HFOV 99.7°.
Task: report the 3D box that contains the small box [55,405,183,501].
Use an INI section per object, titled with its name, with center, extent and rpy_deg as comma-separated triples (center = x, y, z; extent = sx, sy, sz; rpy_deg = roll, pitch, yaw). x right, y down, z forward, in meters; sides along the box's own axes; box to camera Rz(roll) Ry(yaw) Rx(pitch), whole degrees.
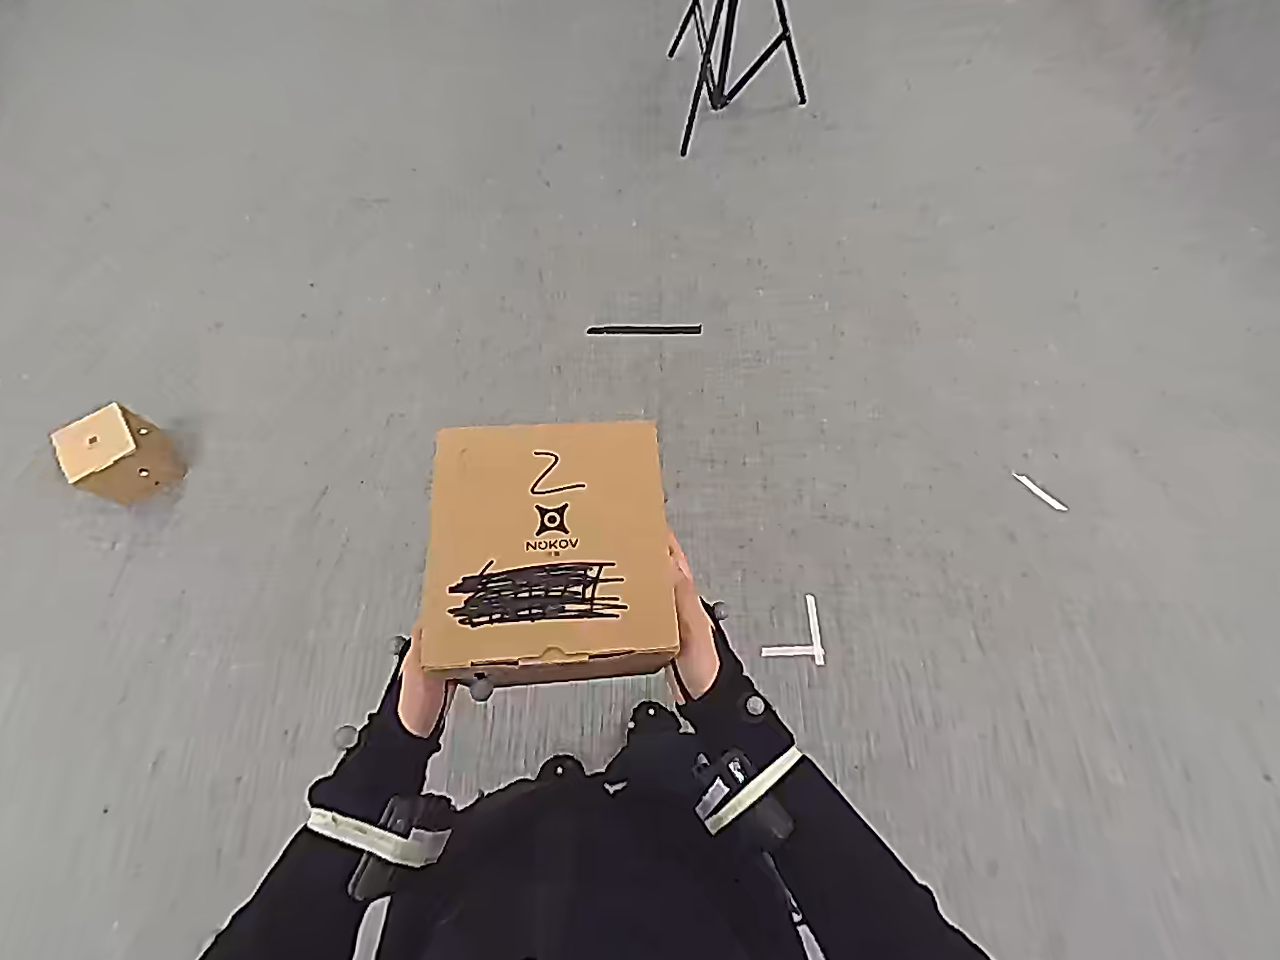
[small box]
center = -1.395, -0.062, 1.460
extent = 0.168, 0.176, 0.179
rpy_deg = -35, 71, -15
